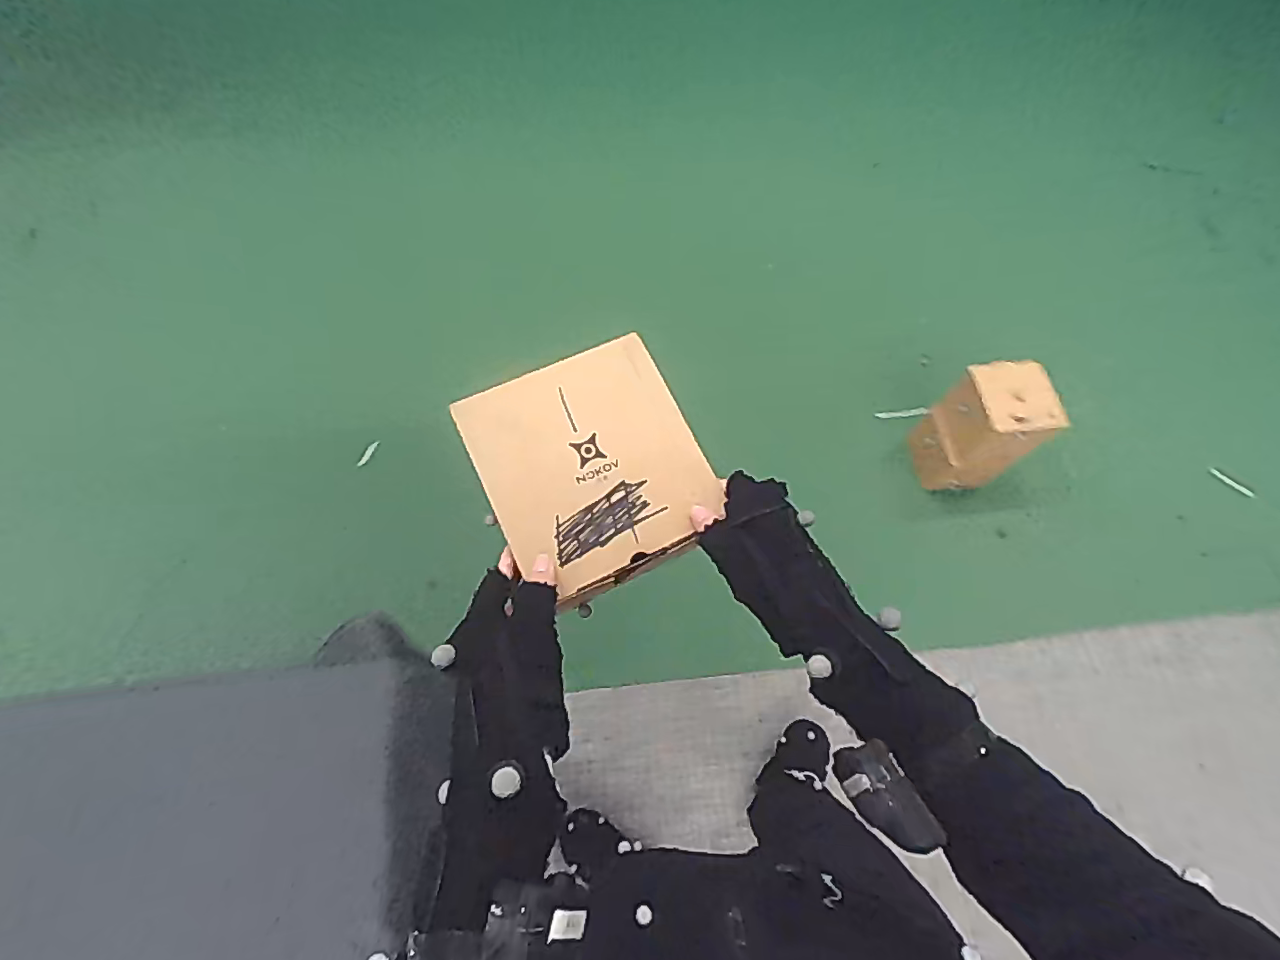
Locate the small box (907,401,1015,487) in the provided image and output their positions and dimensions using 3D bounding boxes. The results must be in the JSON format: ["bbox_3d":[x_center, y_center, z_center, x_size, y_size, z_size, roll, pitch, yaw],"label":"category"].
[{"bbox_3d":[0.837,-0.096,1.433,0.168,0.176,0.179,-3,66,0],"label":"small box"}]

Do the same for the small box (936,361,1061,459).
[{"bbox_3d":[0.847,-0.161,1.303,0.168,0.176,0.179,-6,65,-2],"label":"small box"}]
